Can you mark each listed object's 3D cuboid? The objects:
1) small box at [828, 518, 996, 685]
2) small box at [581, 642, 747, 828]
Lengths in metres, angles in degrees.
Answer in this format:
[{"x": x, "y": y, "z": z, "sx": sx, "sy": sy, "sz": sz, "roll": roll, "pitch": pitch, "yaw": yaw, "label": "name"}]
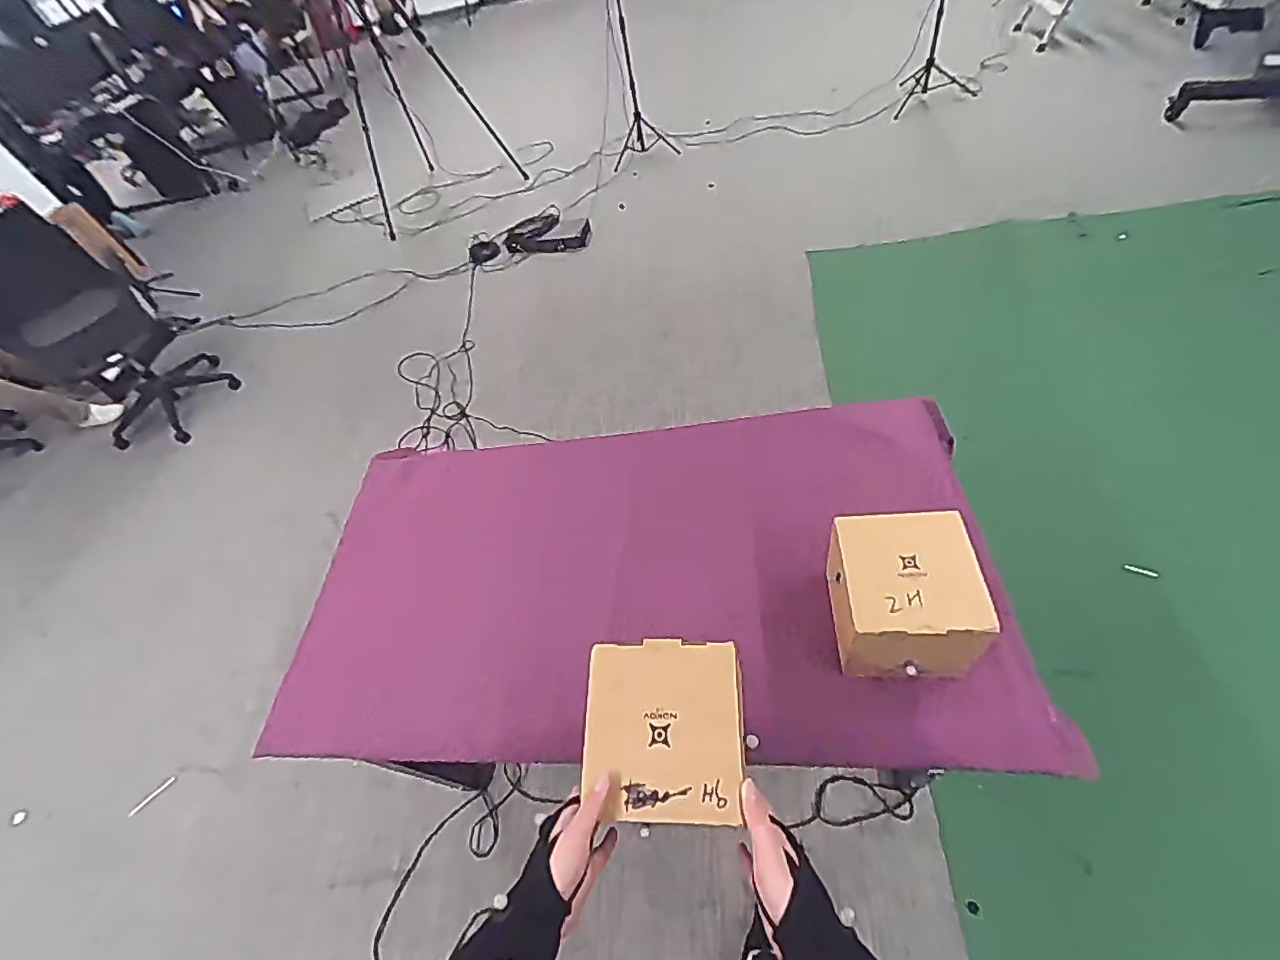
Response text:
[{"x": 0.366, "y": 0.174, "z": 0.768, "sx": 0.168, "sy": 0.176, "sz": 0.179, "roll": -4, "pitch": 51, "yaw": 12, "label": "small box"}, {"x": 0.038, "y": 0.303, "z": 0.638, "sx": 0.168, "sy": 0.176, "sz": 0.179, "roll": -4, "pitch": 57, "yaw": 10, "label": "small box"}]
